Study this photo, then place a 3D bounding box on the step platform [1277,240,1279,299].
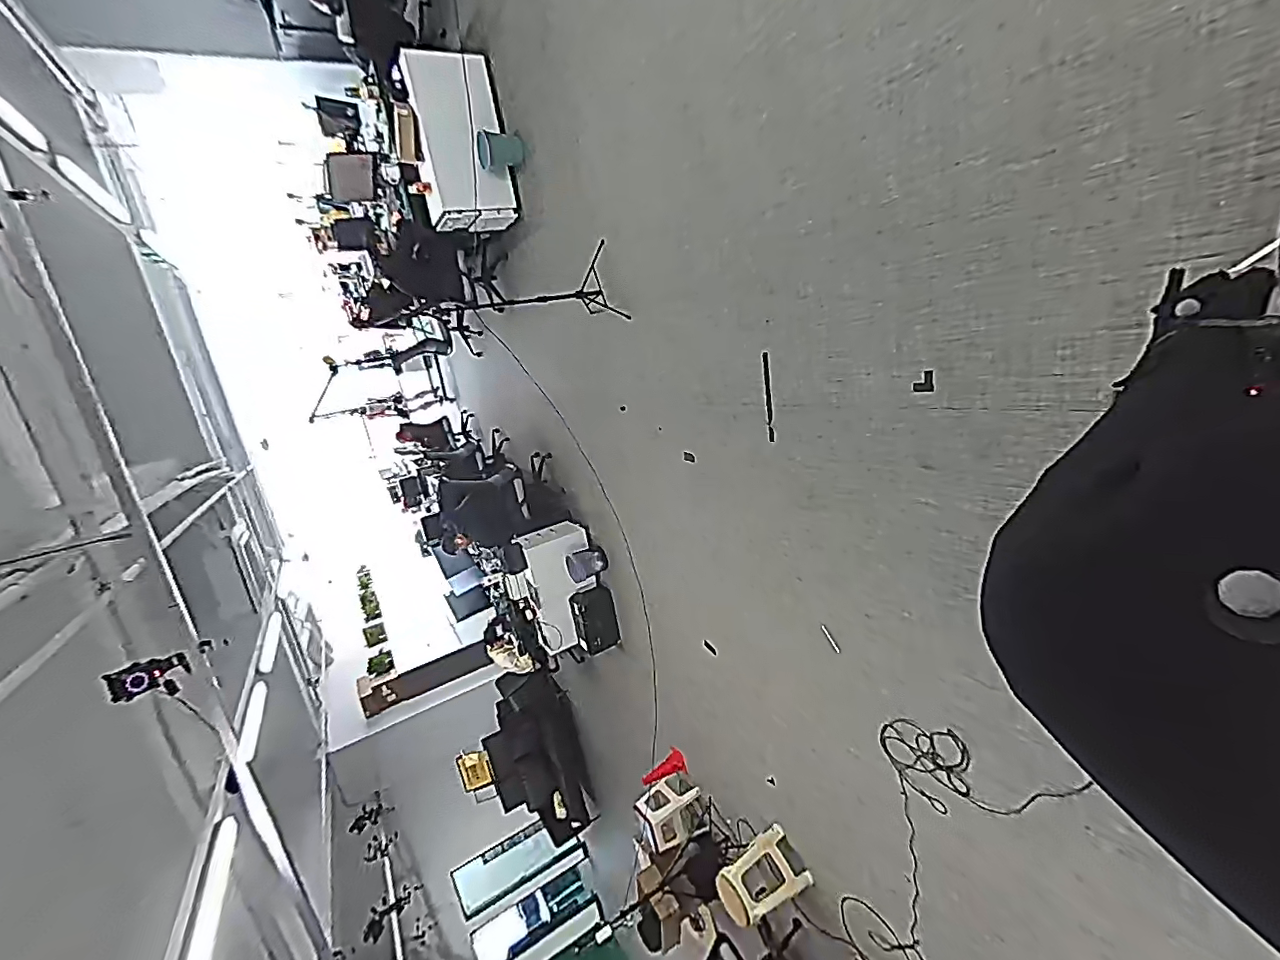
[{"bbox_3d":[1.354,-0.379,0.701,0.684,0.204,0.286,13,118,59],"label":"step platform"}]
